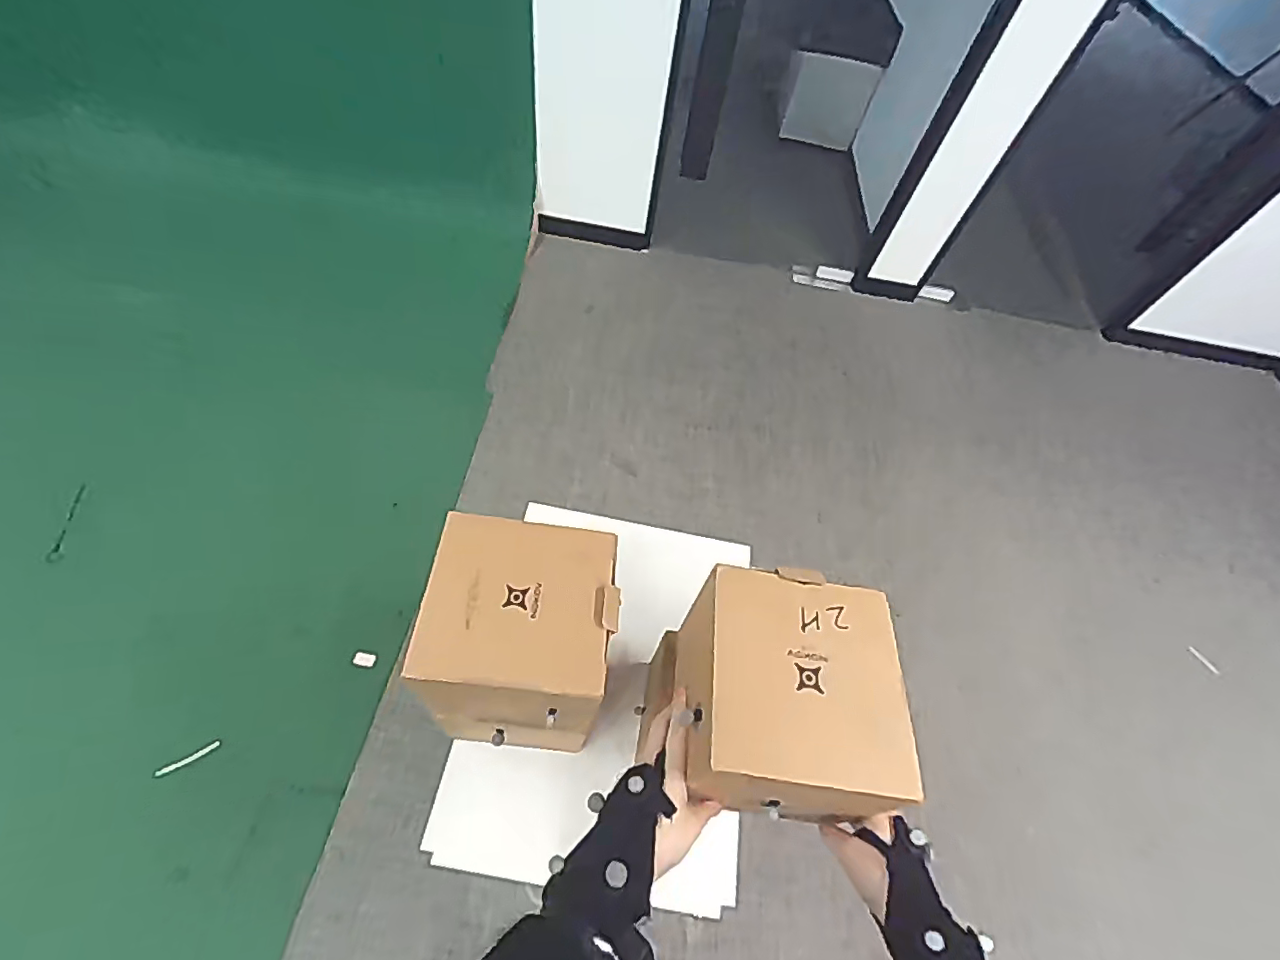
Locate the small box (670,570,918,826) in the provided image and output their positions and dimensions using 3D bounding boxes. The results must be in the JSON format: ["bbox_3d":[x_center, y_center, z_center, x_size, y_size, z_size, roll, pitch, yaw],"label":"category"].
[{"bbox_3d":[0.127,0.213,0.515,0.168,0.176,0.179,11,51,-4],"label":"small box"}]

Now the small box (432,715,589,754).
[{"bbox_3d":[-0.148,0.253,0.707,0.179,0.176,0.168,9,56,-4],"label":"small box"}]

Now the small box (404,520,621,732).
[{"bbox_3d":[-0.122,0.163,0.574,0.179,0.176,0.168,7,55,-6],"label":"small box"}]
